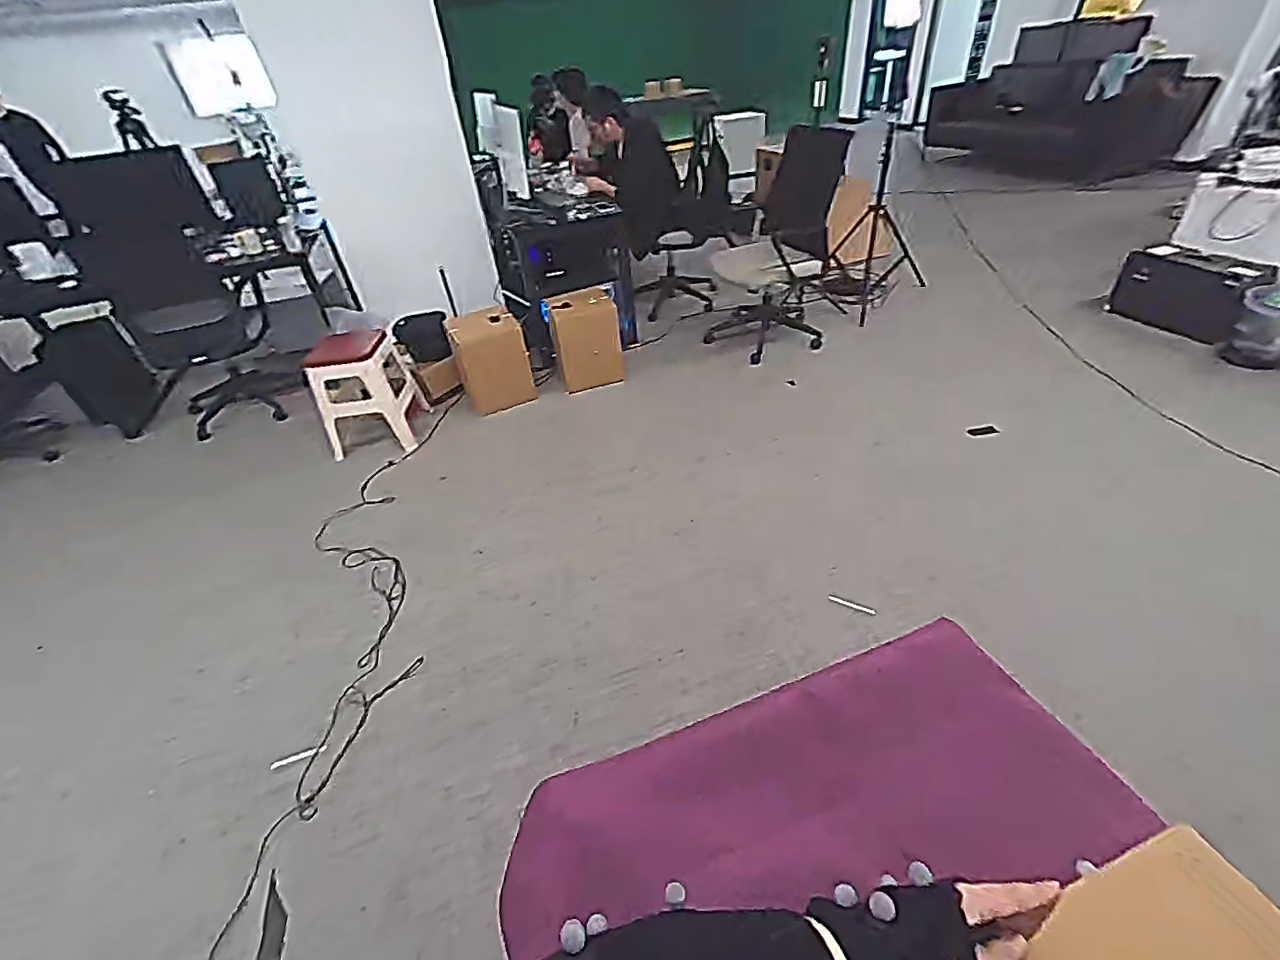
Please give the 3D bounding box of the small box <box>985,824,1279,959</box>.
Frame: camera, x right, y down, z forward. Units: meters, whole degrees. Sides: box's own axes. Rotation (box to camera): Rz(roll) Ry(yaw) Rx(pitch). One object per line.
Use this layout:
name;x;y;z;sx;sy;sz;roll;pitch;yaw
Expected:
small box;0.373;0.380;0.362;0.176;0.168;0.179;-26;37;-3
